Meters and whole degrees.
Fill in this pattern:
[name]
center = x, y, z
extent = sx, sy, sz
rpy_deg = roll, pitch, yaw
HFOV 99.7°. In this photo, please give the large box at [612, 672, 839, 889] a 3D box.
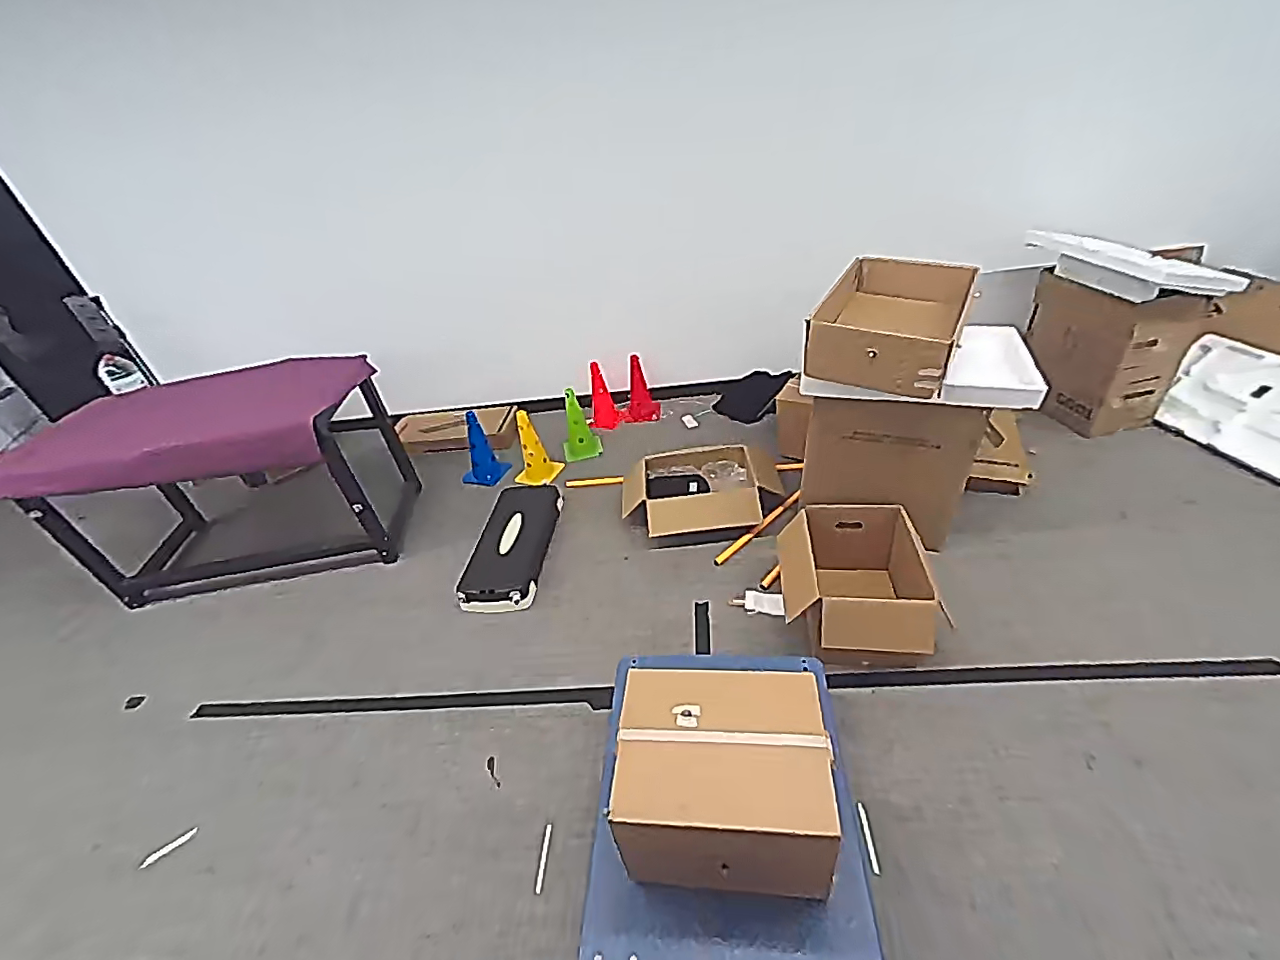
[large box]
center = 0.180, 0.637, 1.156
extent = 0.408, 0.320, 0.320
rpy_deg = -4, 35, 10
